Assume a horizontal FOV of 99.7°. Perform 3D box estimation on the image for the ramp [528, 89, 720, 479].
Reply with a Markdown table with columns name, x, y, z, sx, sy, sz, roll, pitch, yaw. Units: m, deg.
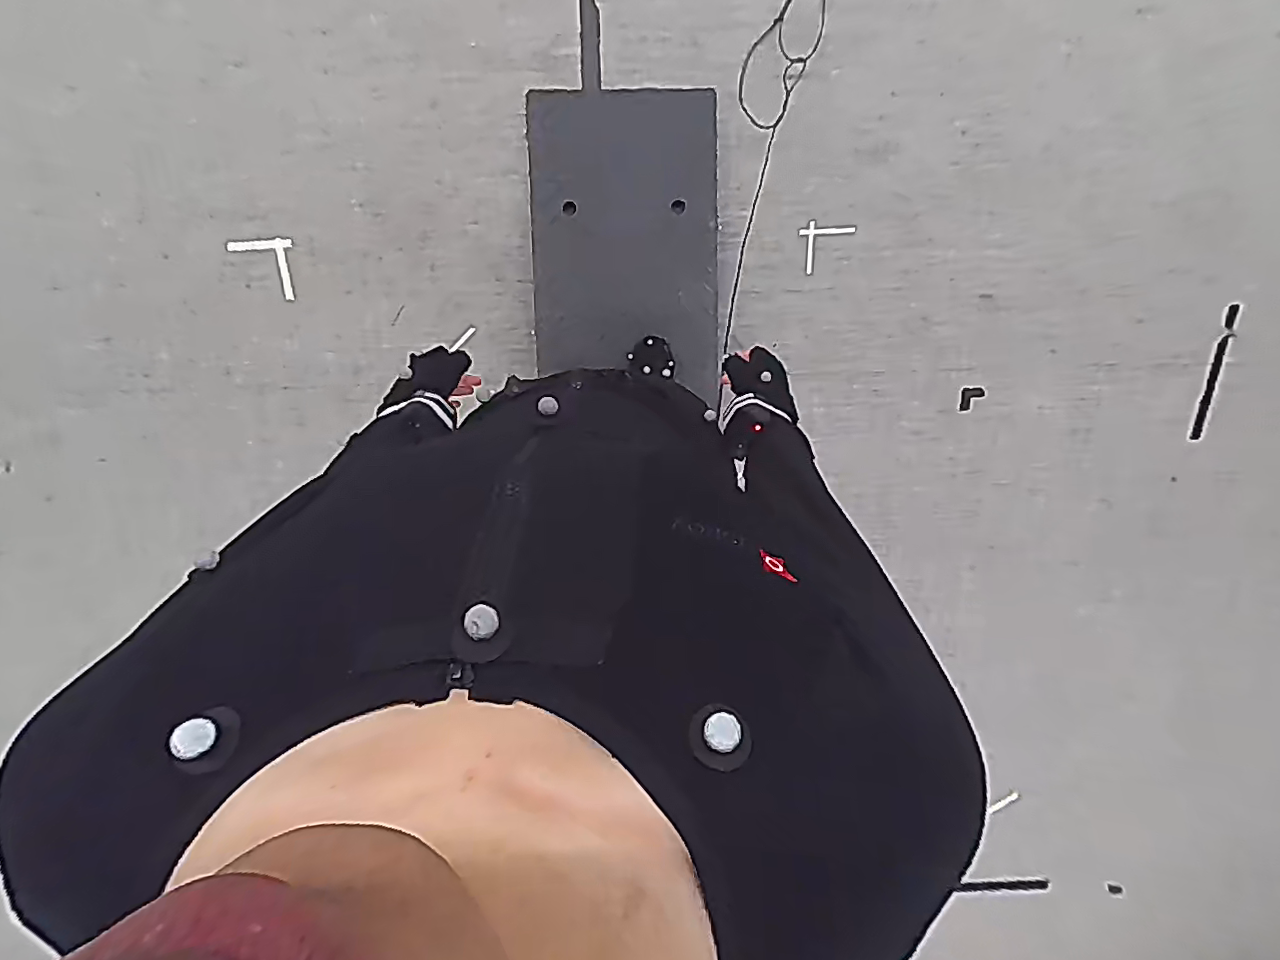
| name | x | y | z | sx | sy | sz | roll | pitch | yaw |
| --- | --- | --- | --- | --- | --- | --- | --- | --- | --- |
| ramp | -0.036 | -0.504 | 1.441 | 0.509 | 0.206 | 0.991 | -3 | 106 | 1 |
